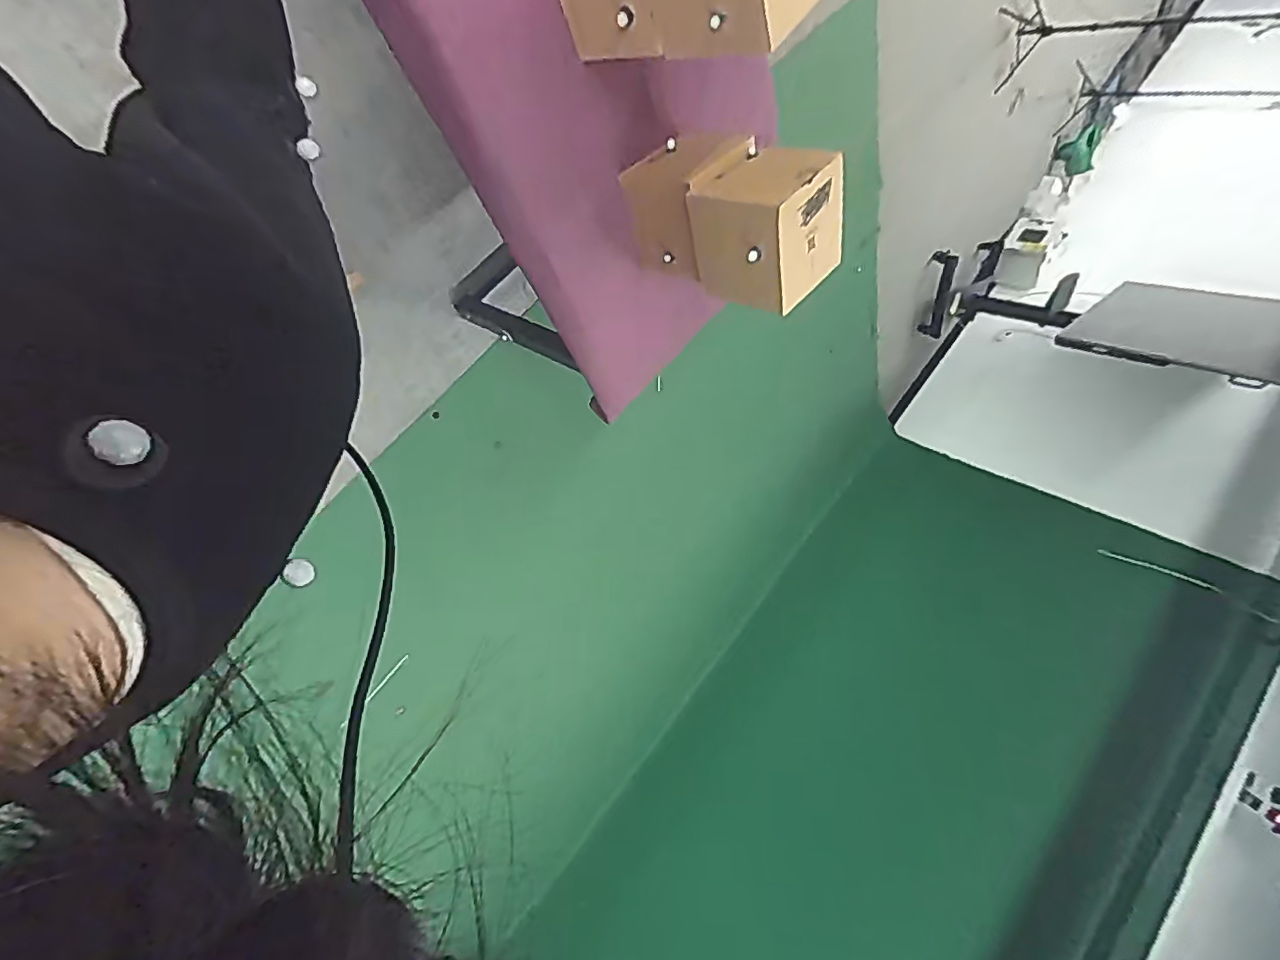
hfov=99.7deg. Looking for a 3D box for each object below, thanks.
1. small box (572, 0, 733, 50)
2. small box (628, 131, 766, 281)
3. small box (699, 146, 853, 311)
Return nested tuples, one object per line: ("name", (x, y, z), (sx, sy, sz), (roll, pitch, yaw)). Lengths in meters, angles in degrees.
("small box", (0.008, -0.683, 0.684), (0.168, 0.176, 0.179), (-47, 142, -15))
("small box", (0.105, -0.480, 0.939), (0.168, 0.176, 0.179), (-44, 140, -20))
("small box", (0.210, -0.397, 0.845), (0.168, 0.176, 0.179), (-44, 141, -20))
